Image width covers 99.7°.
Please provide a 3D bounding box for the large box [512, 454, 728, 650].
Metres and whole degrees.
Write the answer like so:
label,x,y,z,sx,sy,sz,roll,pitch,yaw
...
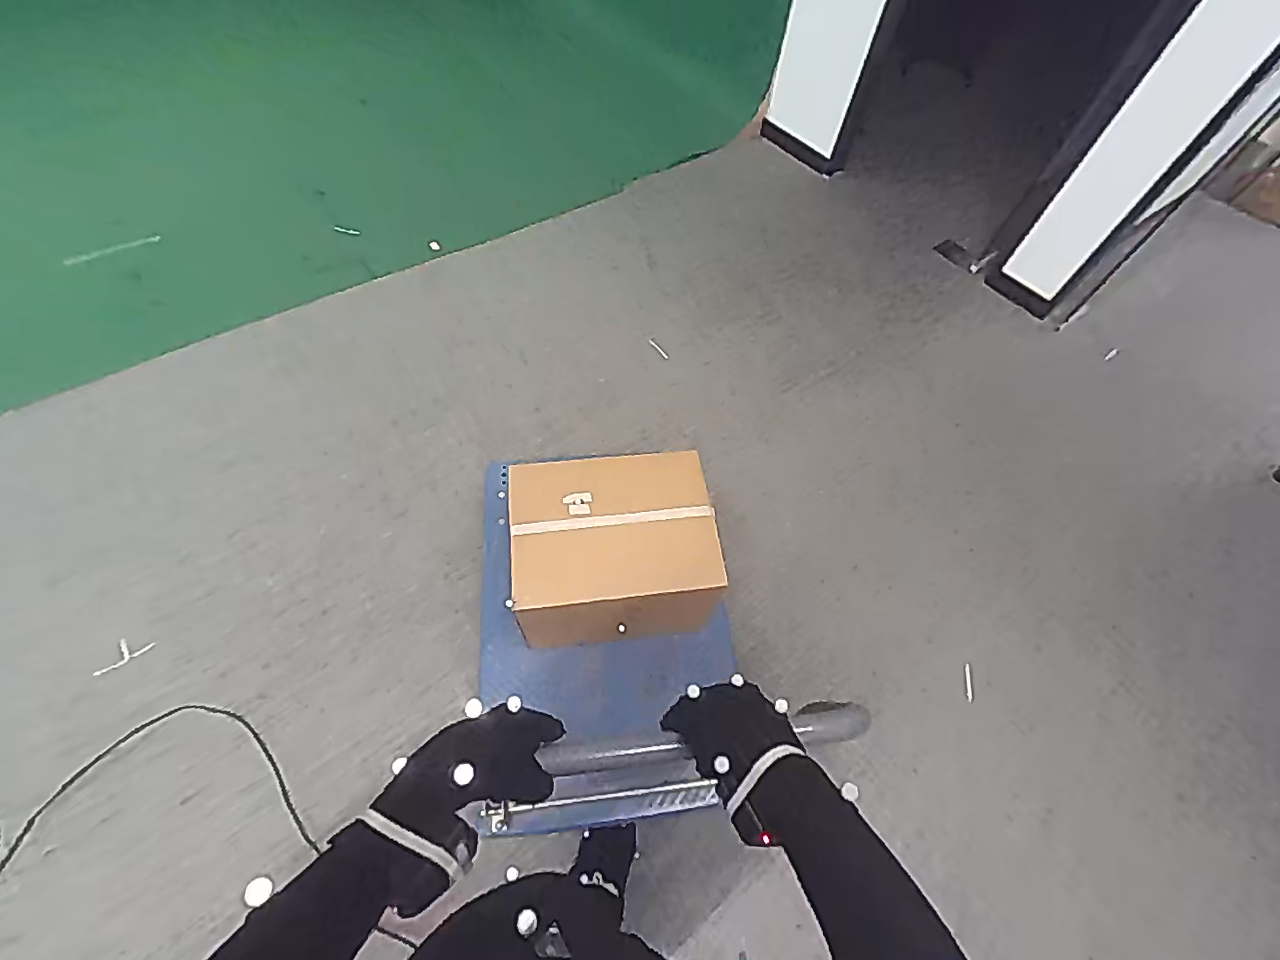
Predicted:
label,x,y,z,sx,sy,sz,roll,pitch,yaw
large box,-0.056,0.170,1.209,0.408,0.320,0.320,-6,59,-7
